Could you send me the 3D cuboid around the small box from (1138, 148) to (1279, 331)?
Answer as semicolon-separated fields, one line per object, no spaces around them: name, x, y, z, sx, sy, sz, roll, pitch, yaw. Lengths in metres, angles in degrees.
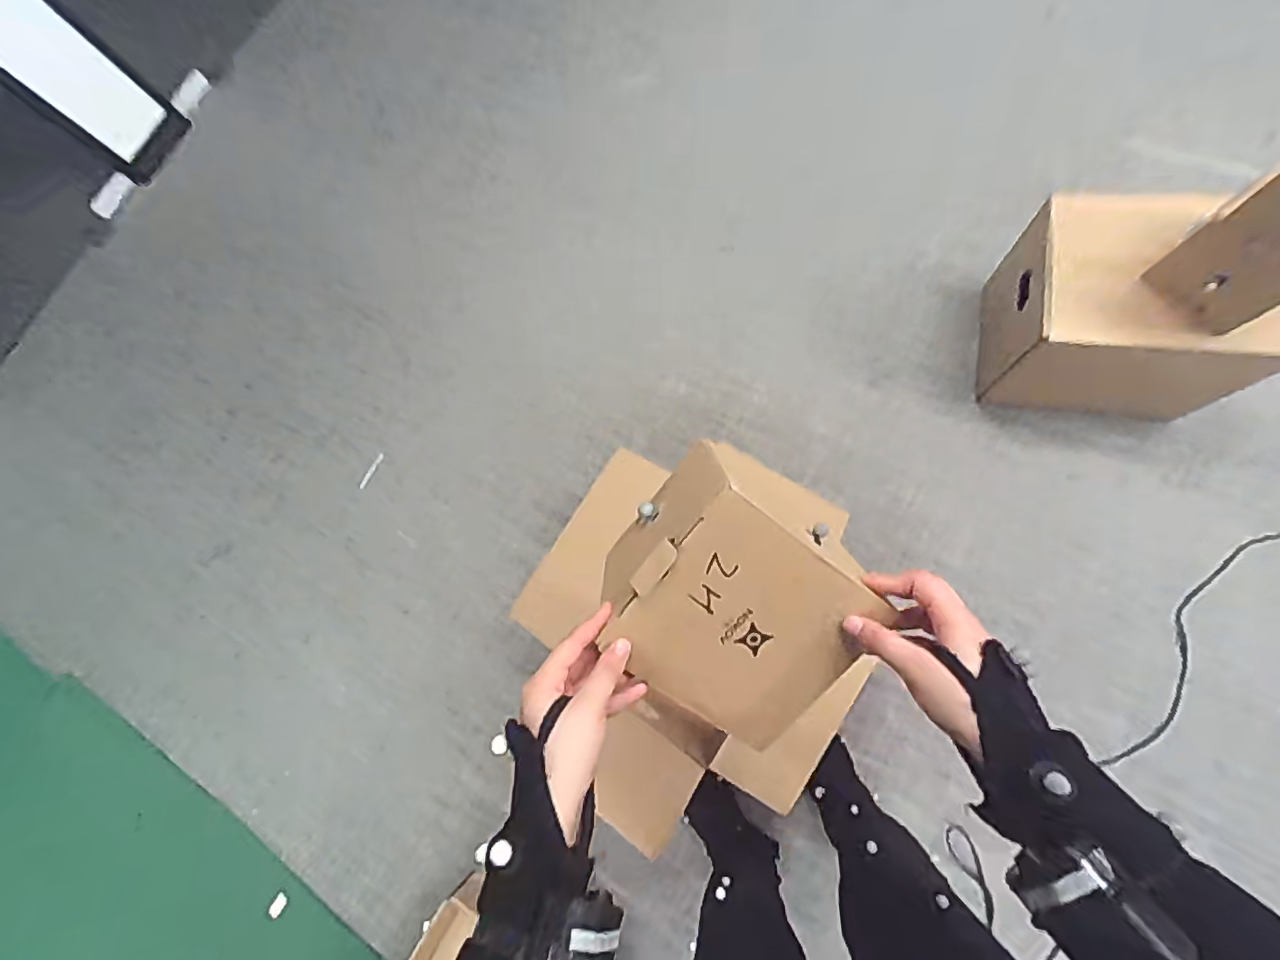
small box;0.986;-0.381;0.886;0.179;0.176;0.168;-41;74;0

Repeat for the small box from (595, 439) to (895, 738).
small box;0.081;0.083;0.494;0.179;0.176;0.168;36;103;-10

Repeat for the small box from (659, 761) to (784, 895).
small box;0.162;0.672;1.056;0.176;0.168;0.179;26;54;-11
